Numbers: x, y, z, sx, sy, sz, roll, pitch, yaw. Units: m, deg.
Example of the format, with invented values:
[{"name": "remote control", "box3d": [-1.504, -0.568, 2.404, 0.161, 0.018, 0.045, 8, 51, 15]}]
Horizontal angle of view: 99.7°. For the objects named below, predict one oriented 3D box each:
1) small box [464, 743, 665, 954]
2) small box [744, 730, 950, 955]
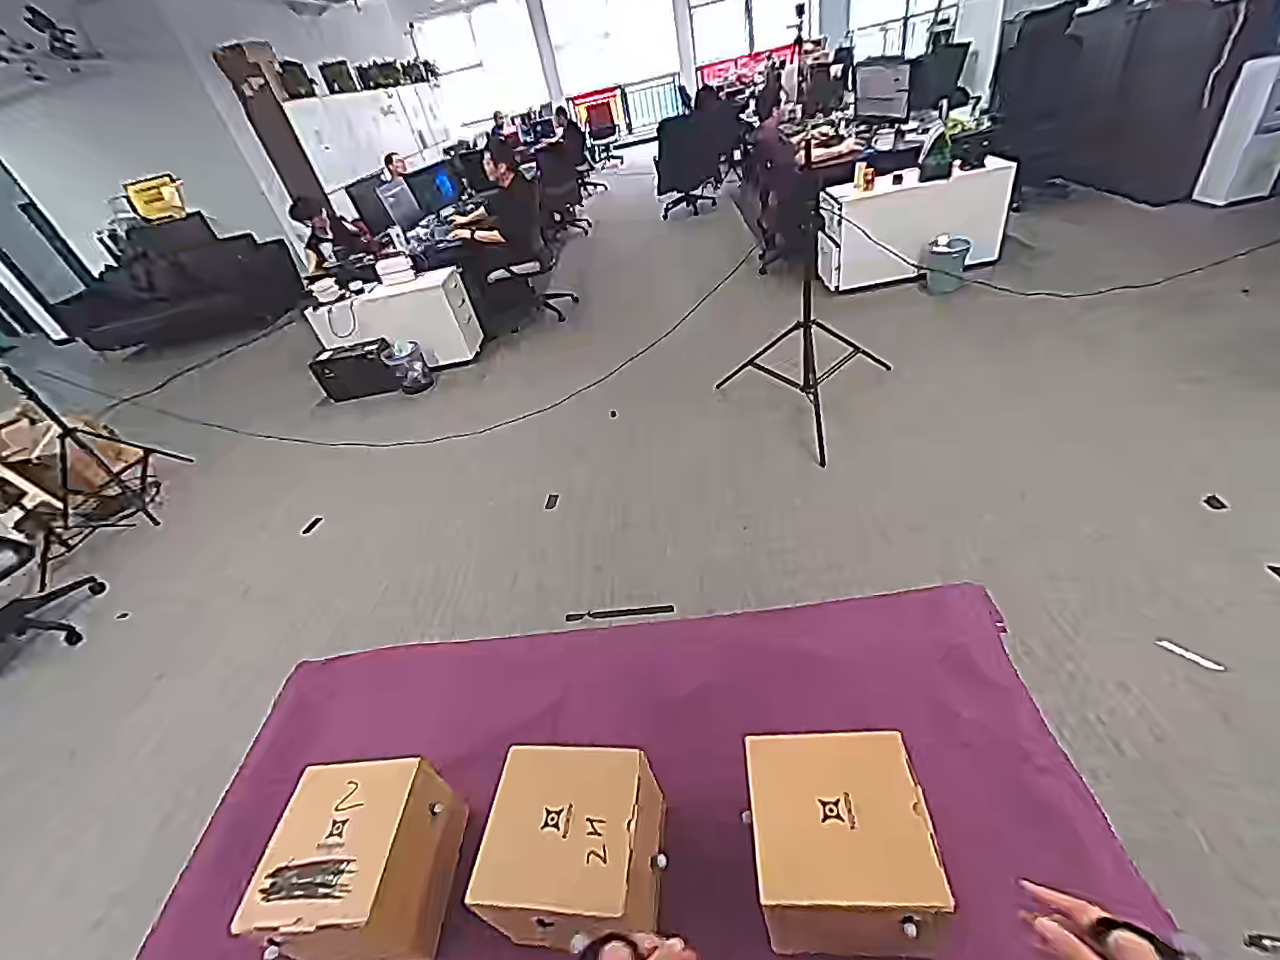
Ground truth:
[{"name": "small box", "box3d": [-0.076, 0.443, 0.654, 0.179, 0.176, 0.168, -4, 39, 12]}, {"name": "small box", "box3d": [0.218, 0.406, 0.609, 0.179, 0.176, 0.168, -7, 36, 10]}]
